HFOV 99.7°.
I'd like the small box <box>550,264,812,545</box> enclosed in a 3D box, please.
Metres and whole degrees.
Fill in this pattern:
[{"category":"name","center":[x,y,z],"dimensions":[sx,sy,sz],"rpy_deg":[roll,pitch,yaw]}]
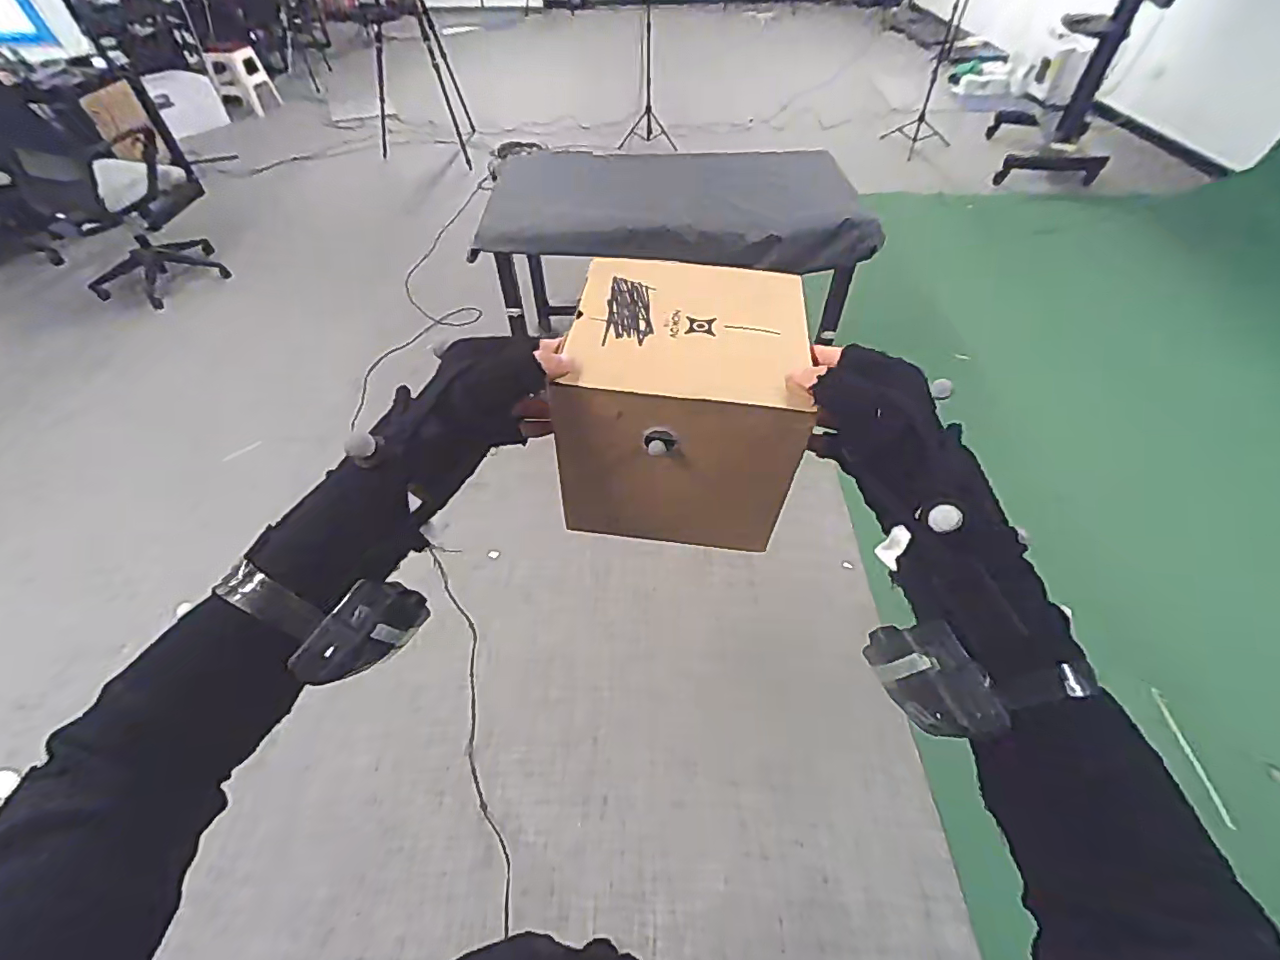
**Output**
[{"category":"small box","center":[0.033,-0.060,0.463],"dimensions":[0.179,0.176,0.168],"rpy_deg":[7,50,3]}]
